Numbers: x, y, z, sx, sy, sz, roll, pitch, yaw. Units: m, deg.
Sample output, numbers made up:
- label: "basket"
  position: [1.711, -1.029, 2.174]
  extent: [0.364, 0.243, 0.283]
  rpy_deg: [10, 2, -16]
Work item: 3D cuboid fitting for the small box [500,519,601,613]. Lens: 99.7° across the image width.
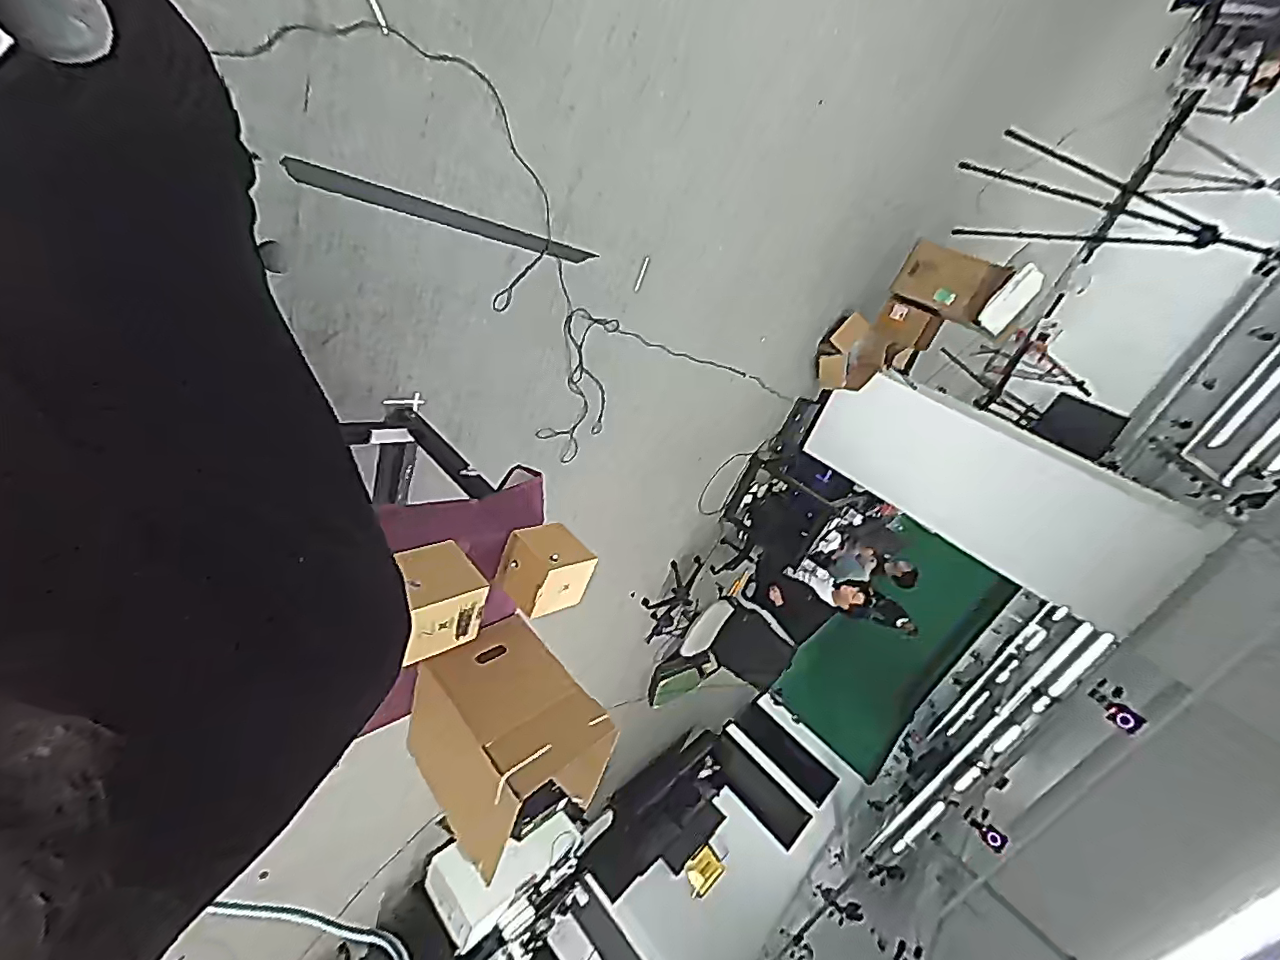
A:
- label: "small box"
  position: [-0.243, 0.222, 1.449]
  extent: [0.179, 0.176, 0.168]
  rpy_deg: [-7, 129, -49]
